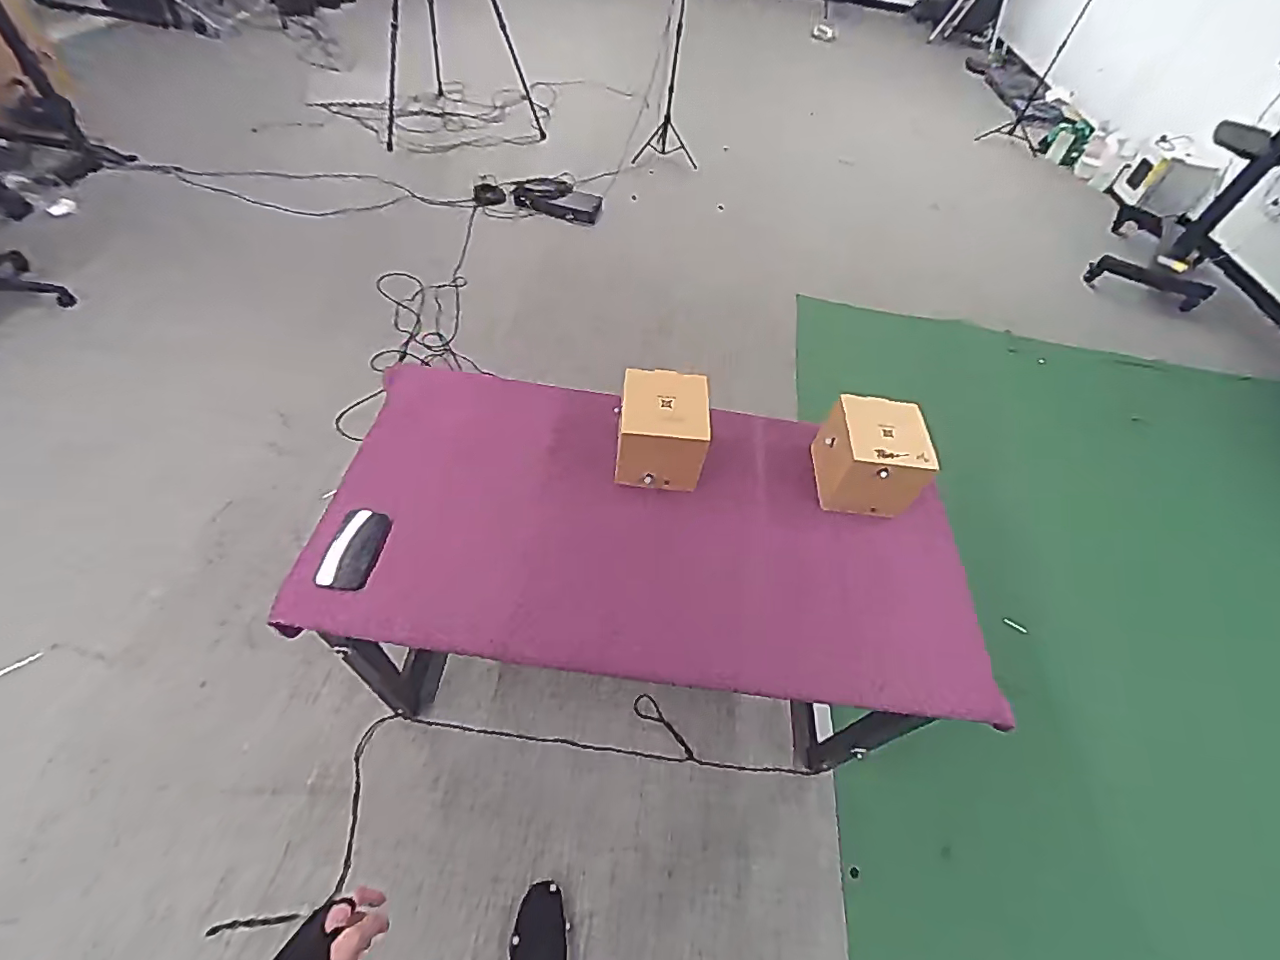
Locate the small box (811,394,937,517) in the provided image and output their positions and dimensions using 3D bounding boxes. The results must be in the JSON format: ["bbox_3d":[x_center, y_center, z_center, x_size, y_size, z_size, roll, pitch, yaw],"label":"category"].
[{"bbox_3d":[0.464,-0.048,1.106,0.168,0.176,0.179,7,52,-2],"label":"small box"}]

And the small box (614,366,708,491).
[{"bbox_3d":[0.038,-0.101,1.086,0.168,0.176,0.179,5,53,-3],"label":"small box"}]
